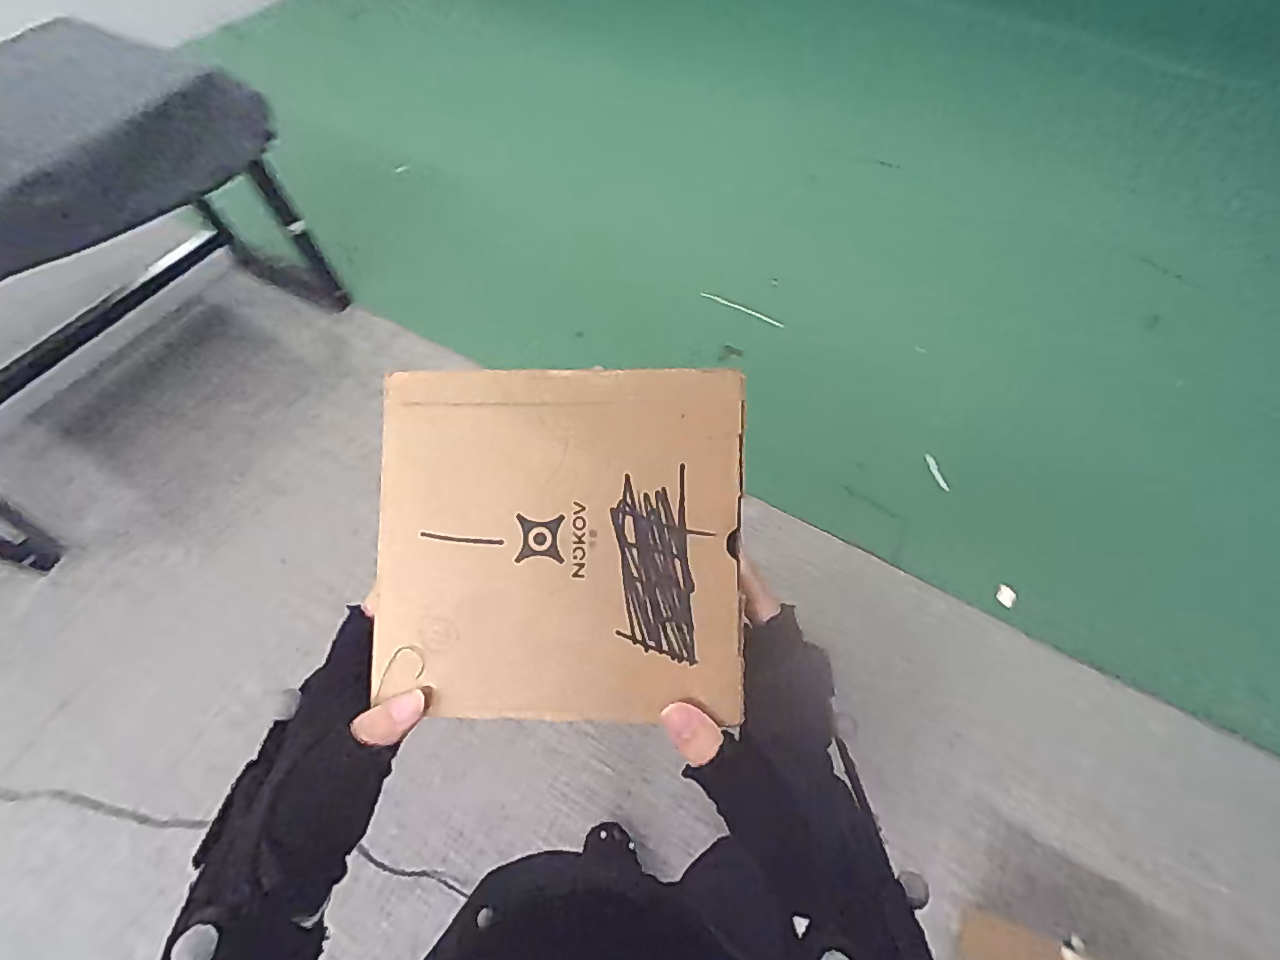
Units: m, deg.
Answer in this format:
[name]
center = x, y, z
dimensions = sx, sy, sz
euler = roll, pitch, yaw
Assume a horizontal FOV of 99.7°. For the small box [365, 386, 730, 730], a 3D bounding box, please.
[small box]
center = -0.042, 0.040, 0.339
dimensions = 0.179, 0.176, 0.168
euler = -1, 86, 3
